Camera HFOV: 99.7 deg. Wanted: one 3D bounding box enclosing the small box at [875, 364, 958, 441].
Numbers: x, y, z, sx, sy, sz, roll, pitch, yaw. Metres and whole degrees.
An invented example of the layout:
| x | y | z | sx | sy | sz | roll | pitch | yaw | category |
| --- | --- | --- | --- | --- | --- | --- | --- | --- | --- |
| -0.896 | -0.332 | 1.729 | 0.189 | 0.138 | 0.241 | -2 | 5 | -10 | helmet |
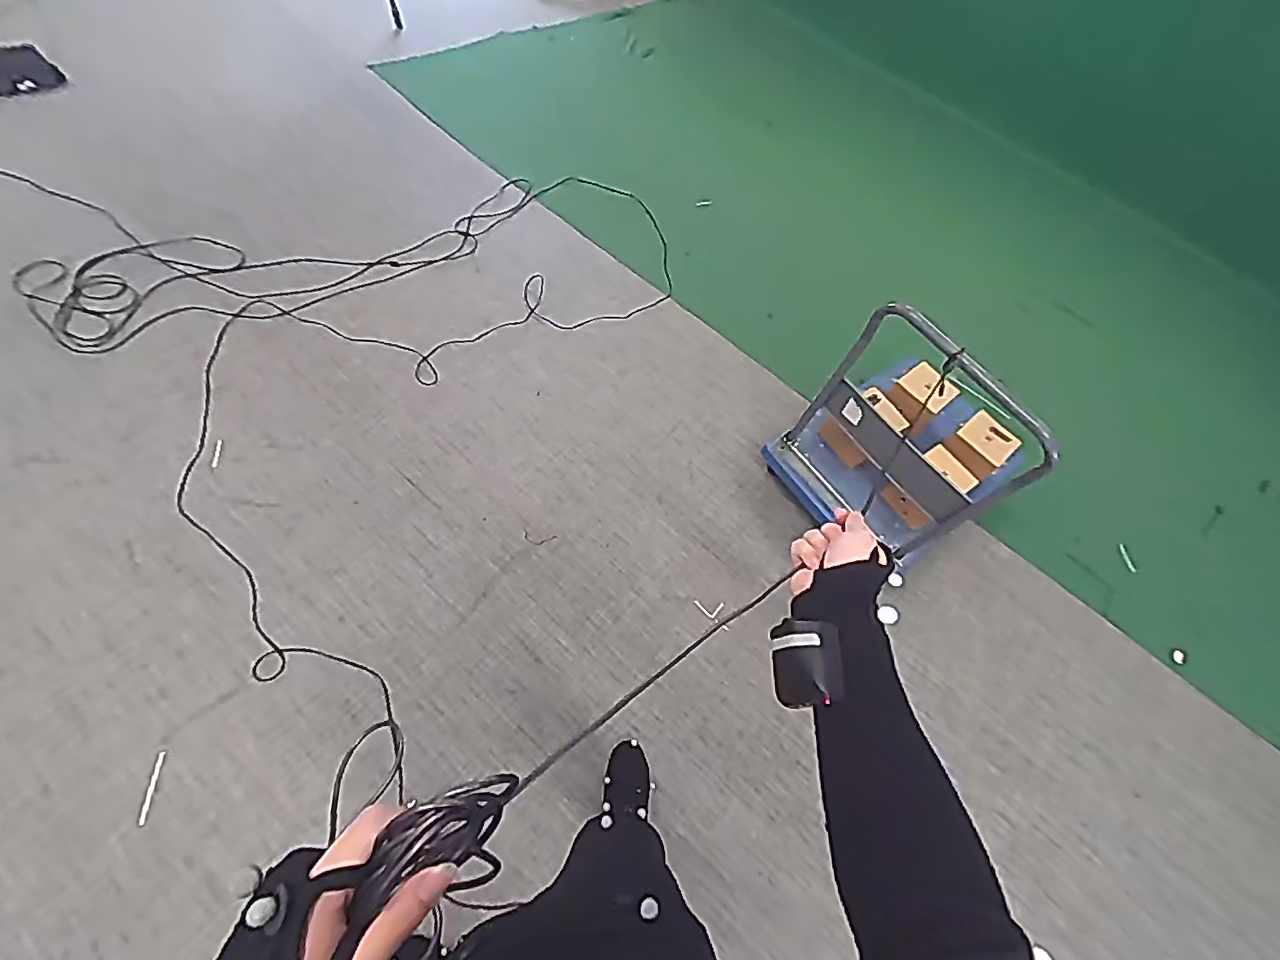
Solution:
| x | y | z | sx | sy | sz | roll | pitch | yaw | category |
| --- | --- | --- | --- | --- | --- | --- | --- | --- | --- |
| 0.964 | -0.268 | 1.907 | 0.179 | 0.176 | 0.168 | -33 | 72 | -26 | small box |

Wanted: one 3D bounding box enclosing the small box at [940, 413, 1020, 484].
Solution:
| x | y | z | sx | sy | sz | roll | pitch | yaw | category |
| --- | --- | --- | --- | --- | --- | --- | --- | --- | --- |
| 1.126 | -0.089 | 1.834 | 0.179 | 0.176 | 0.168 | -33 | 70 | -26 | small box |

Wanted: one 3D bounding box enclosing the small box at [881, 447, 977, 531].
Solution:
| x | y | z | sx | sy | sz | roll | pitch | yaw | category |
| --- | --- | --- | --- | --- | --- | --- | --- | --- | --- |
| 0.911 | 0.031 | 1.721 | 0.179 | 0.176 | 0.168 | -28 | 69 | -24 | small box |
